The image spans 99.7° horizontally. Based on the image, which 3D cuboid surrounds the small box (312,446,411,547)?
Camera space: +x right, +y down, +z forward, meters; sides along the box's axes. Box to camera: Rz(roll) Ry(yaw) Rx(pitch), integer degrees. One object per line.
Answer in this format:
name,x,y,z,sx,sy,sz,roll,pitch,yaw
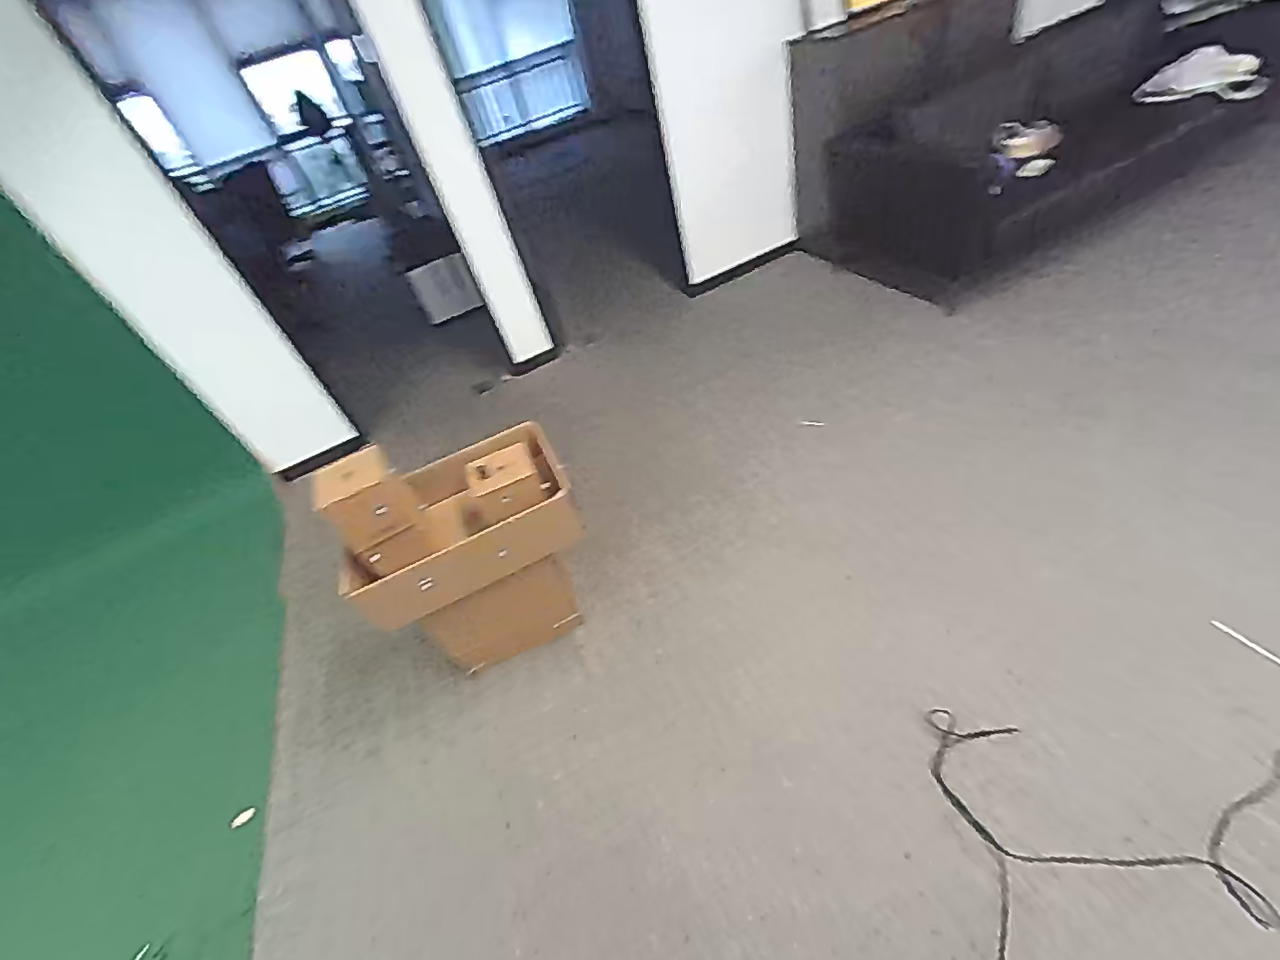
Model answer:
small box,-0.715,0.050,1.394,0.168,0.176,0.179,-28,42,-12
